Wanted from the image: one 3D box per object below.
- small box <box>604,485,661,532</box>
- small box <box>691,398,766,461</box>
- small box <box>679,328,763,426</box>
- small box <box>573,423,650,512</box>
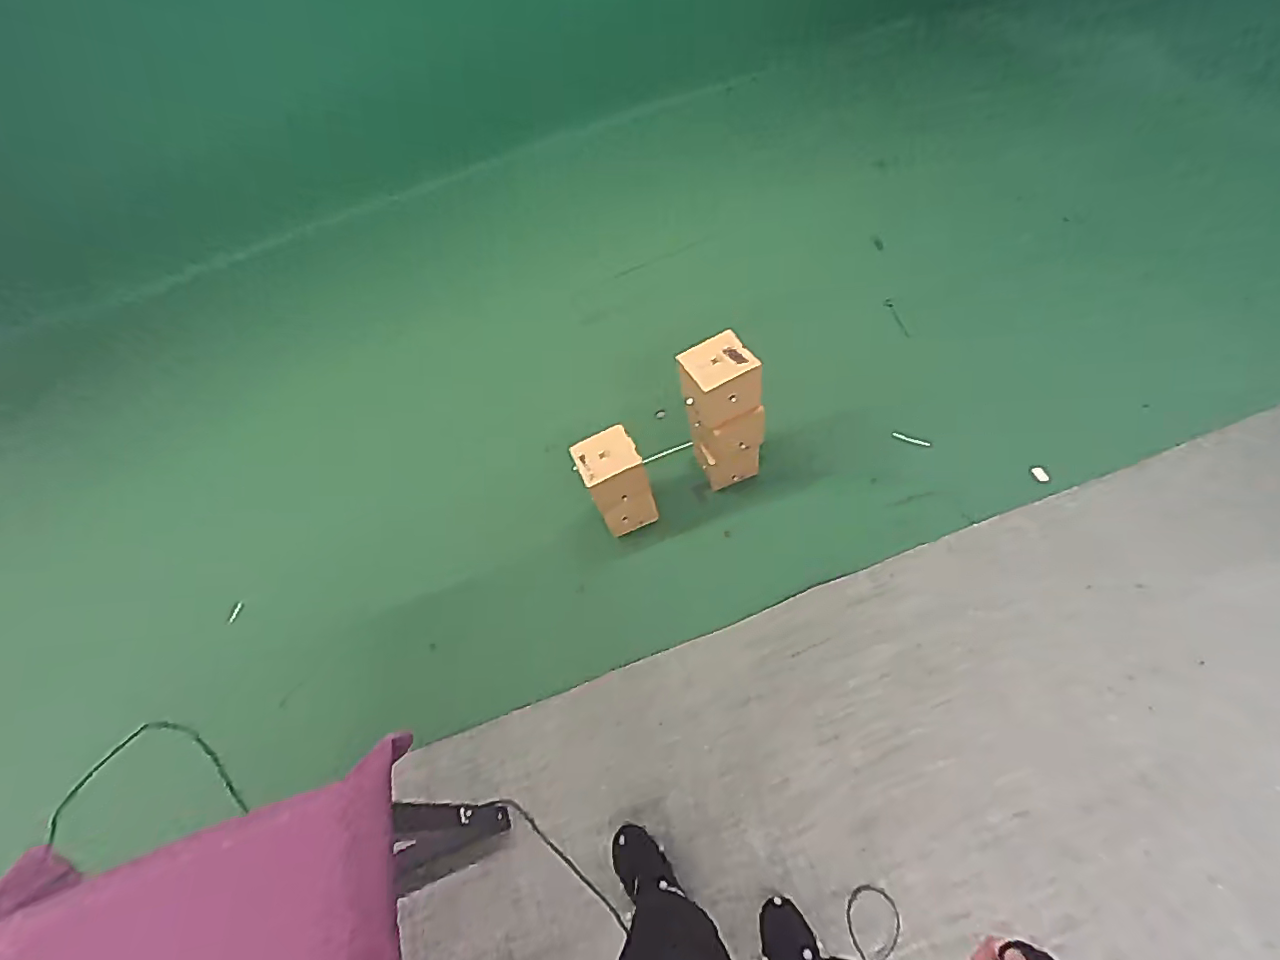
[{"bbox_3d":[-0.044,0.050,1.776,0.168,0.176,0.179,-23,56,-2],"label":"small box"},{"bbox_3d":[0.269,-0.190,1.658,0.168,0.176,0.179,-30,58,-6],"label":"small box"},{"bbox_3d":[0.230,-0.288,1.530,0.179,0.176,0.168,-28,57,-5],"label":"small box"},{"bbox_3d":[-0.079,-0.034,1.640,0.179,0.176,0.168,-25,56,-4],"label":"small box"}]
